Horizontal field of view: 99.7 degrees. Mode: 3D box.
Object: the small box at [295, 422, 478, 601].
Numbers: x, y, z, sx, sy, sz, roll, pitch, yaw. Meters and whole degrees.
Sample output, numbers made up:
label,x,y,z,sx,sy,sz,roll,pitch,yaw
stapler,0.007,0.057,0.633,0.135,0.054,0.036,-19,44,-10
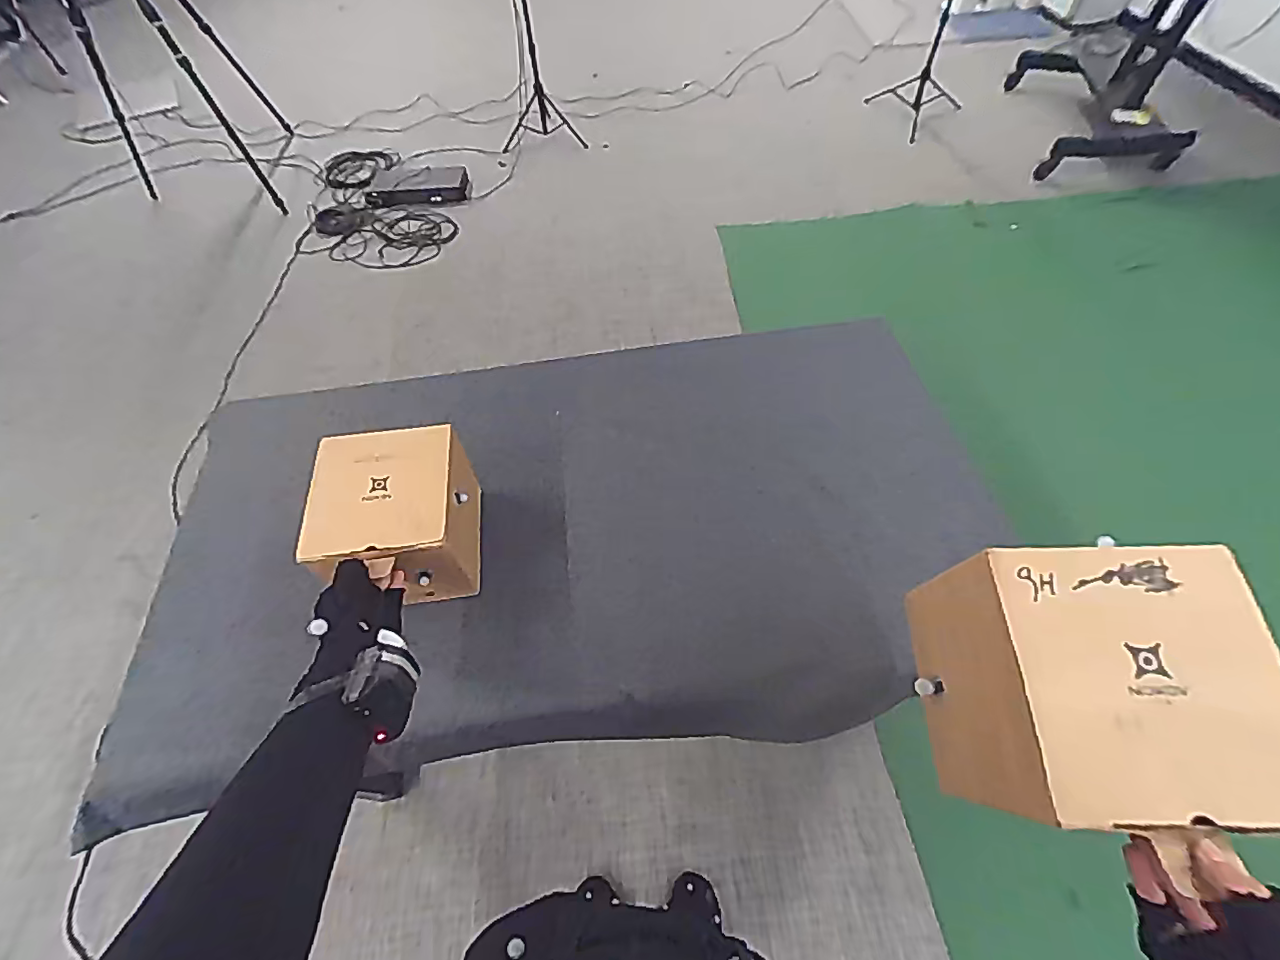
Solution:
label,x,y,z,sx,sy,sz,roll,pitch,yaw
small box,-0.317,0.050,0.718,0.168,0.176,0.179,-7,57,-5
